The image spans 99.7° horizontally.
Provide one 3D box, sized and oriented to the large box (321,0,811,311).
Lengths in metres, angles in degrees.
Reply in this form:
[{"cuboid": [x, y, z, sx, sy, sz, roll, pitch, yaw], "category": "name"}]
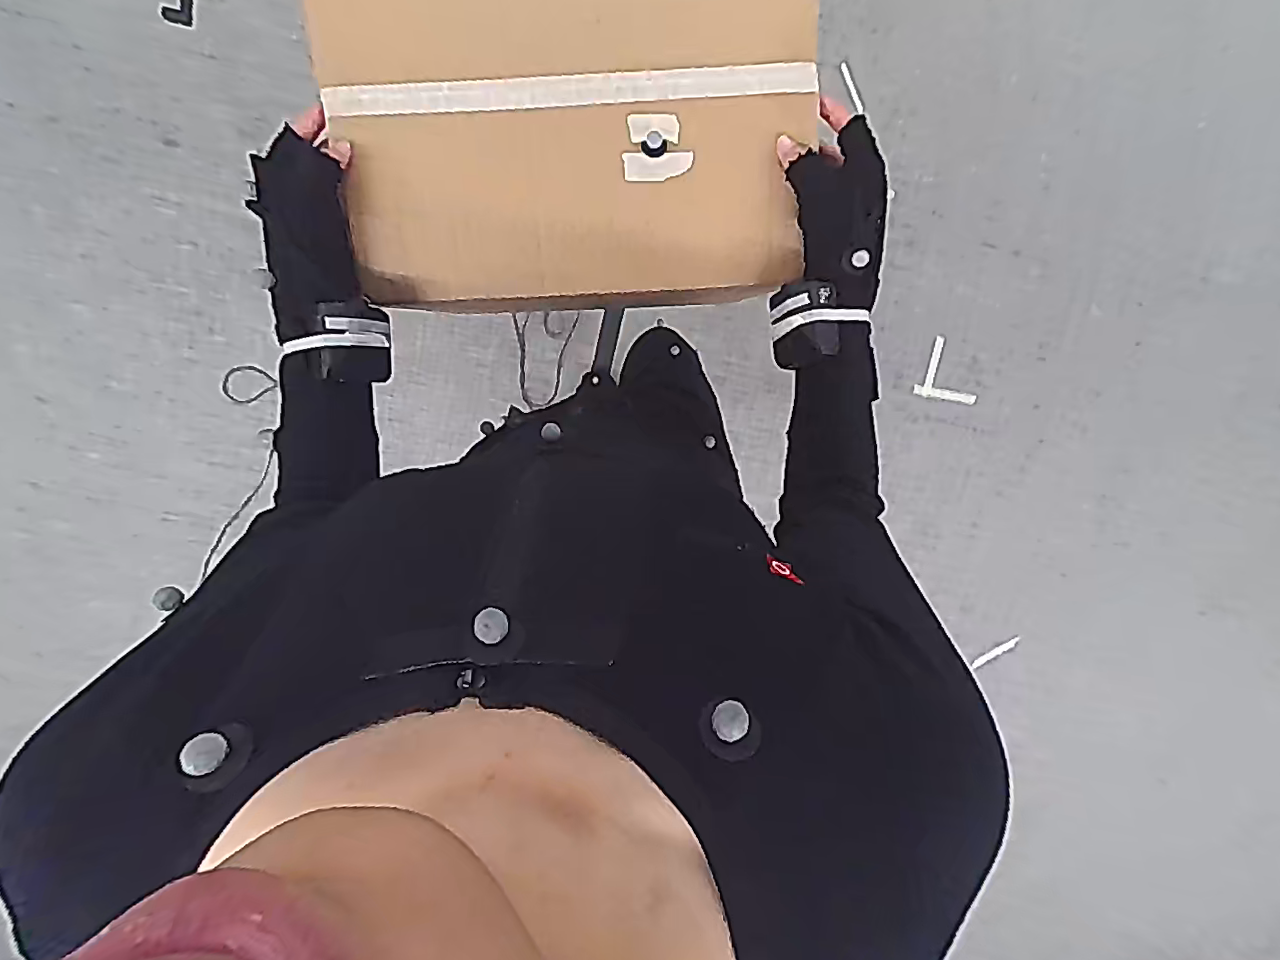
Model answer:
[{"cuboid": [-0.060, -0.368, 0.598, 0.408, 0.320, 0.320, -3, 105, -1], "category": "large box"}]
